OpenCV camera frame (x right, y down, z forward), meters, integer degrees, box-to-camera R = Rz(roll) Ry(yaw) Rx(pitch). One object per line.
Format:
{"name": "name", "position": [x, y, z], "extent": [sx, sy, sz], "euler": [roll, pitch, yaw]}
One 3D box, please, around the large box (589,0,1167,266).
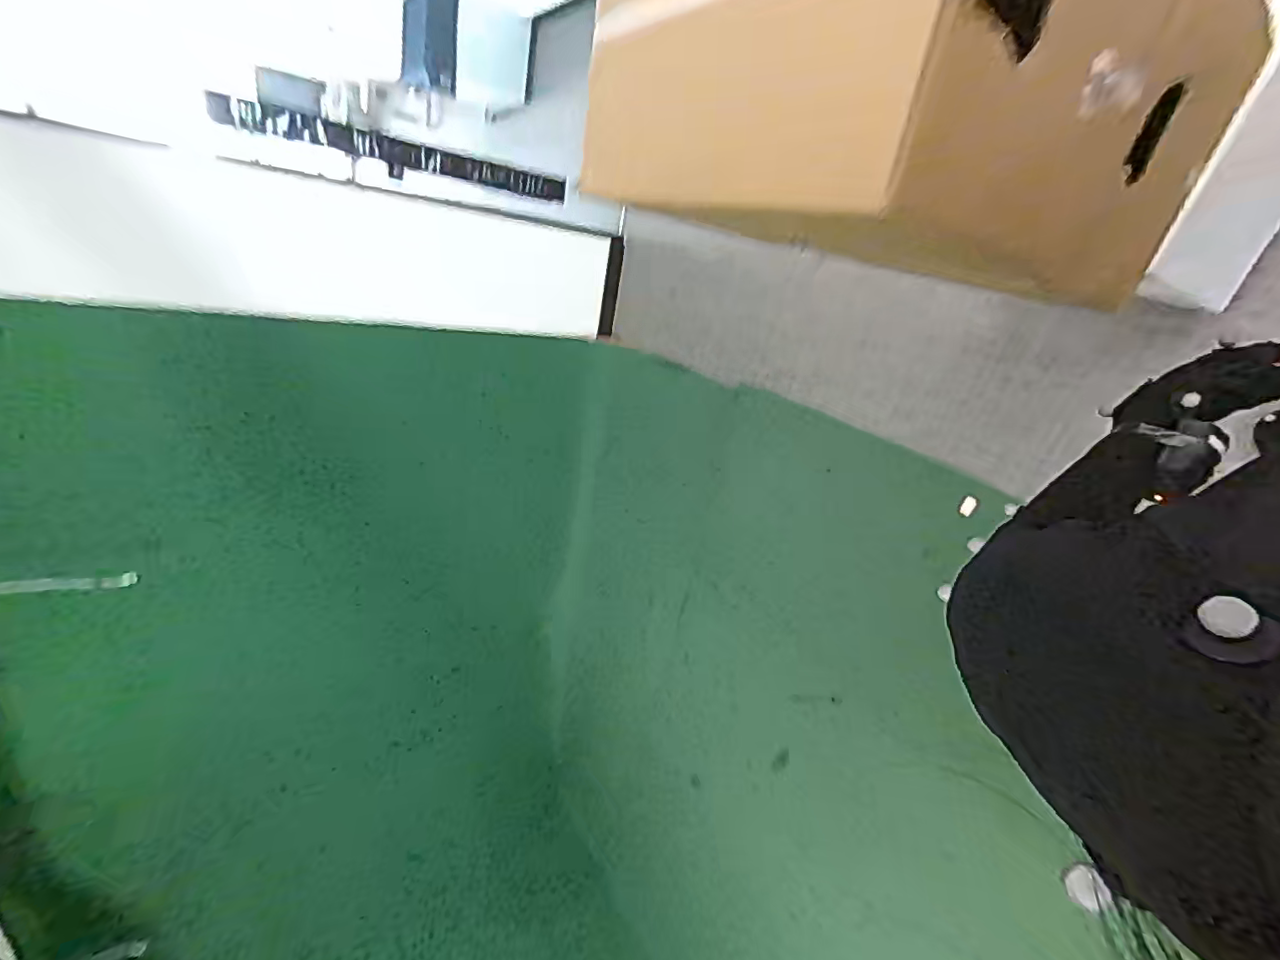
{"name": "large box", "position": [0.195, -0.403, 0.524], "extent": [0.408, 0.320, 0.320], "euler": [36, 122, 47]}
